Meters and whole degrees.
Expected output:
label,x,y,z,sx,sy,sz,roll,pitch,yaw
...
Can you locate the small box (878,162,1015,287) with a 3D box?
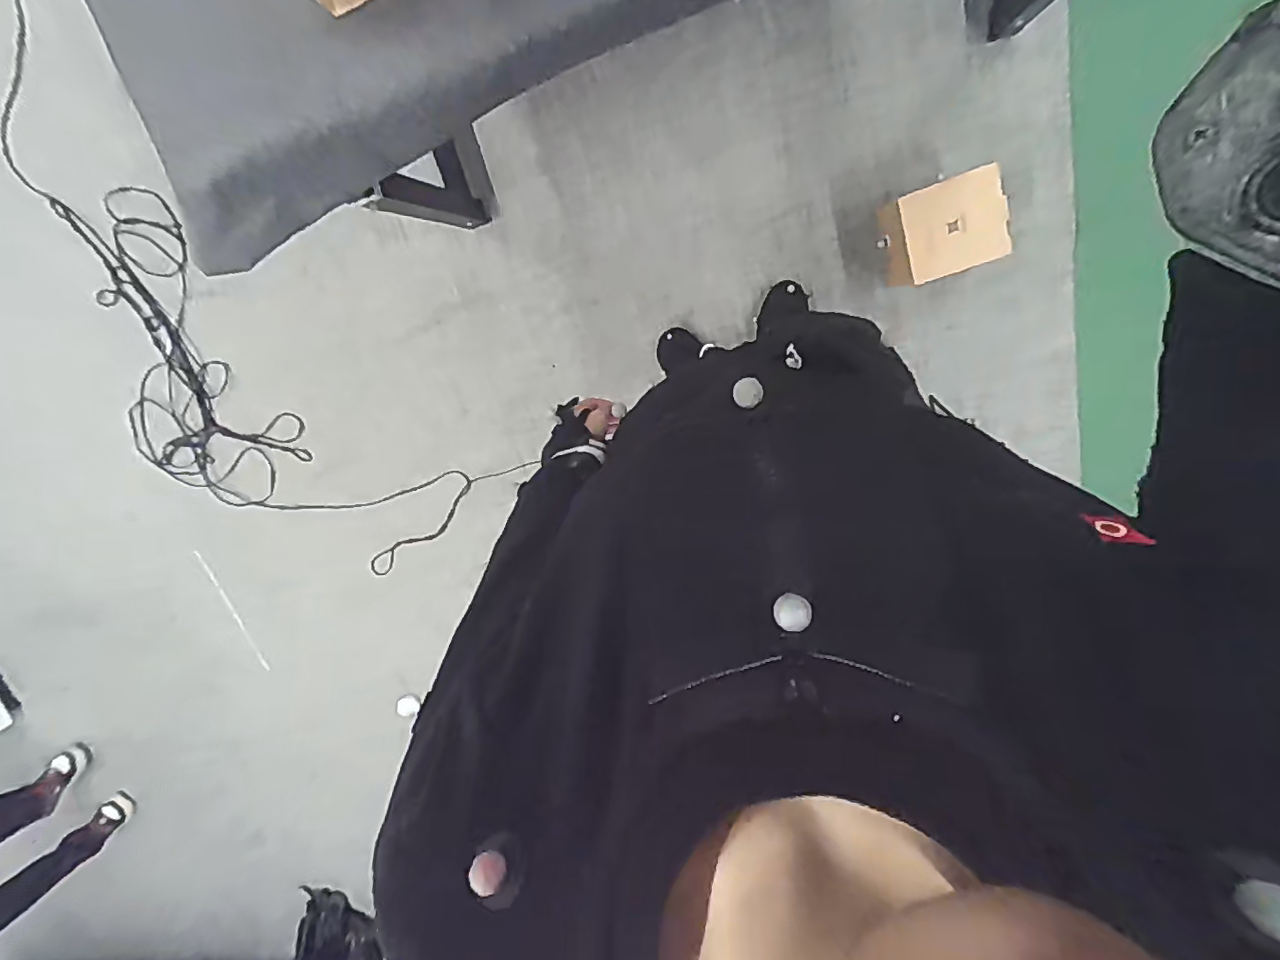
label,x,y,z,sx,sy,sz,roll,pitch,yaw
small box,0.597,-0.494,1.070,0.179,0.176,0.168,-17,104,15
